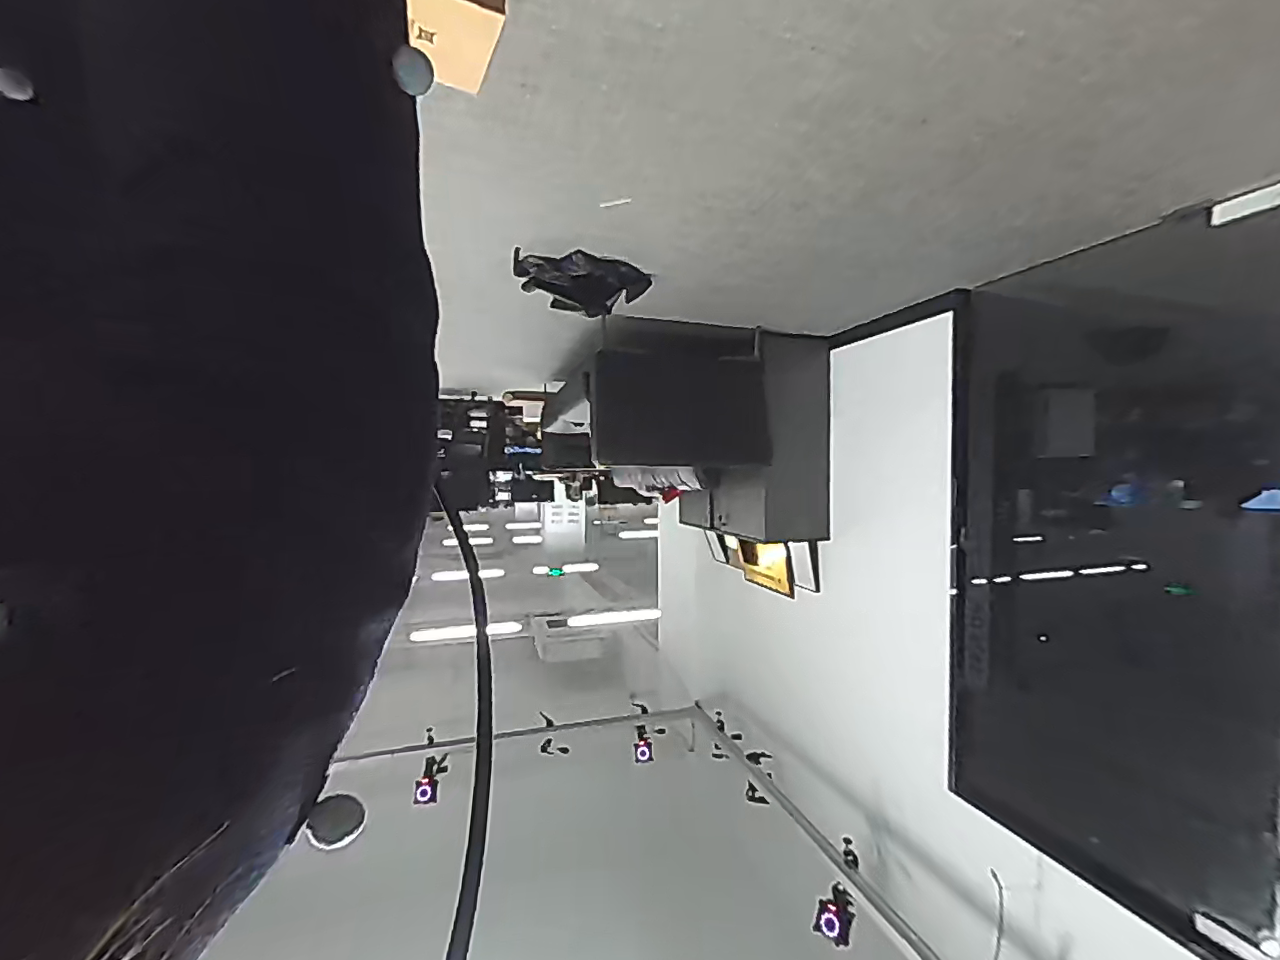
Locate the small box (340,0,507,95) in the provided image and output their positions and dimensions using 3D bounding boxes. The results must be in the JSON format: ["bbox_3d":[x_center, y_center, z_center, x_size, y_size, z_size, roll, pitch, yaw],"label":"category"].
[{"bbox_3d":[-0.275,-0.640,0.677,0.179,0.176,0.168,0,-178,-30],"label":"small box"}]
